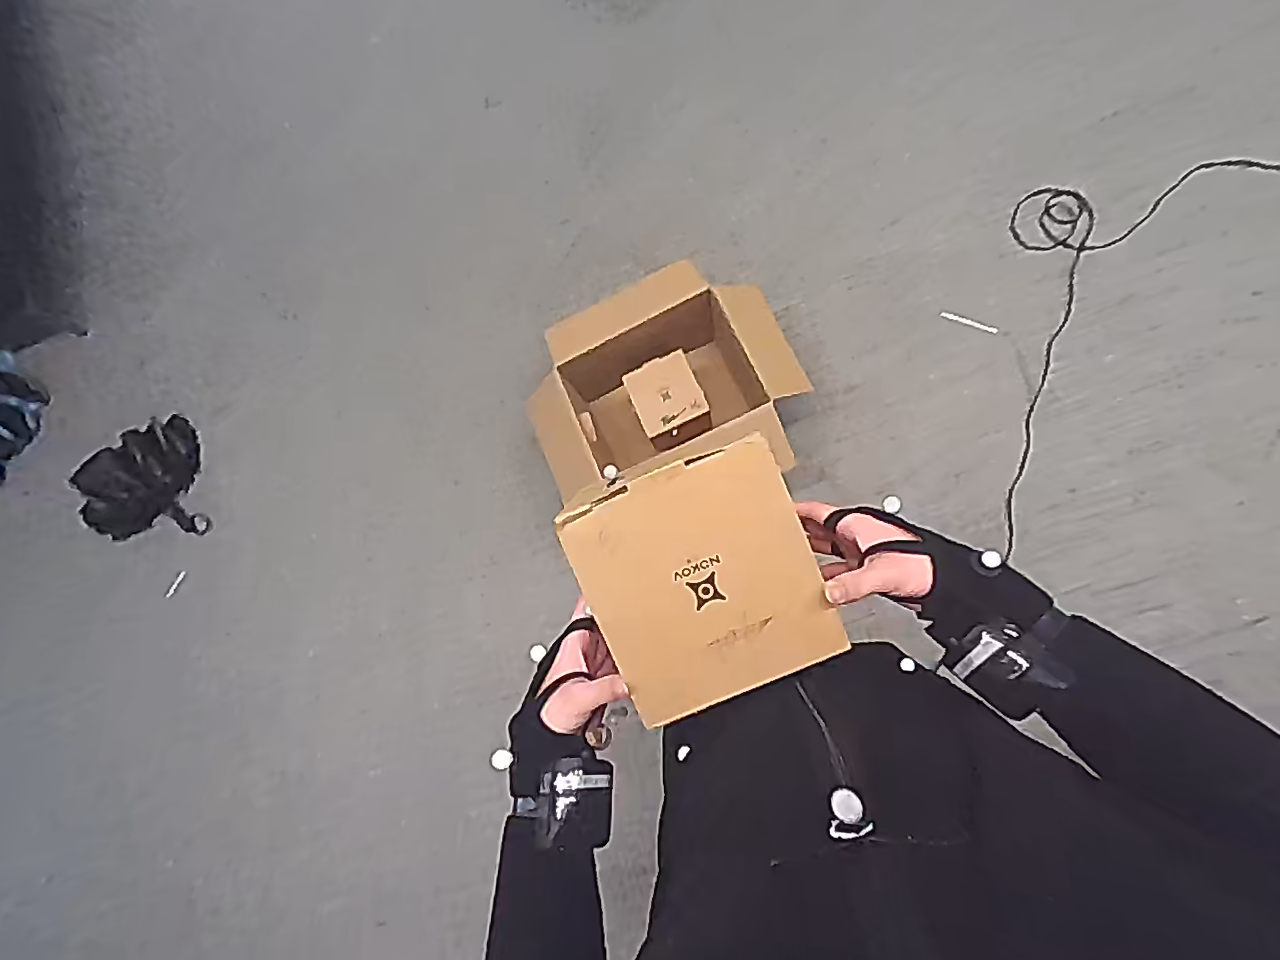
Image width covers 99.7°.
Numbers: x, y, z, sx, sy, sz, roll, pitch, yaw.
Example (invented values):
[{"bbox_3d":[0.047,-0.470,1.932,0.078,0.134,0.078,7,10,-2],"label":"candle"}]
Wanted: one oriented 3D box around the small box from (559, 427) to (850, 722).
[{"bbox_3d":[0.047,0.064,0.469,0.168,0.176,0.179,-23,96,4],"label":"small box"}]
